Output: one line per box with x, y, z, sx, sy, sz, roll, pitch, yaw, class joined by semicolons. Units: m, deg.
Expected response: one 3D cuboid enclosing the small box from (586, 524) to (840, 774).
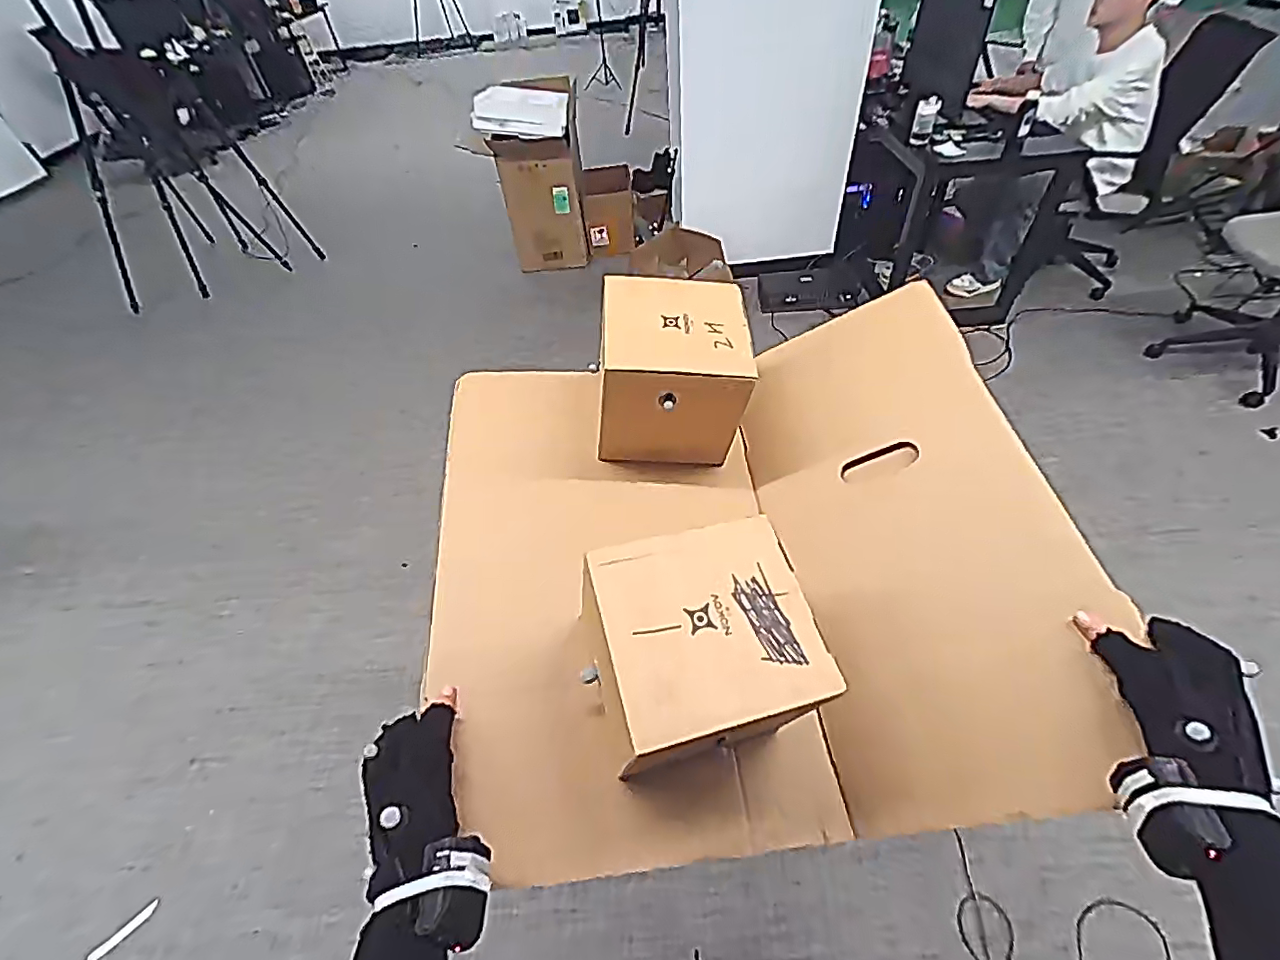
0.050;0.164;0.517;0.179;0.176;0.168;-10;58;-13;small box

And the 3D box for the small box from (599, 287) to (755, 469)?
0.037;-0.128;0.714;0.179;0.176;0.168;3;56;-6;small box
